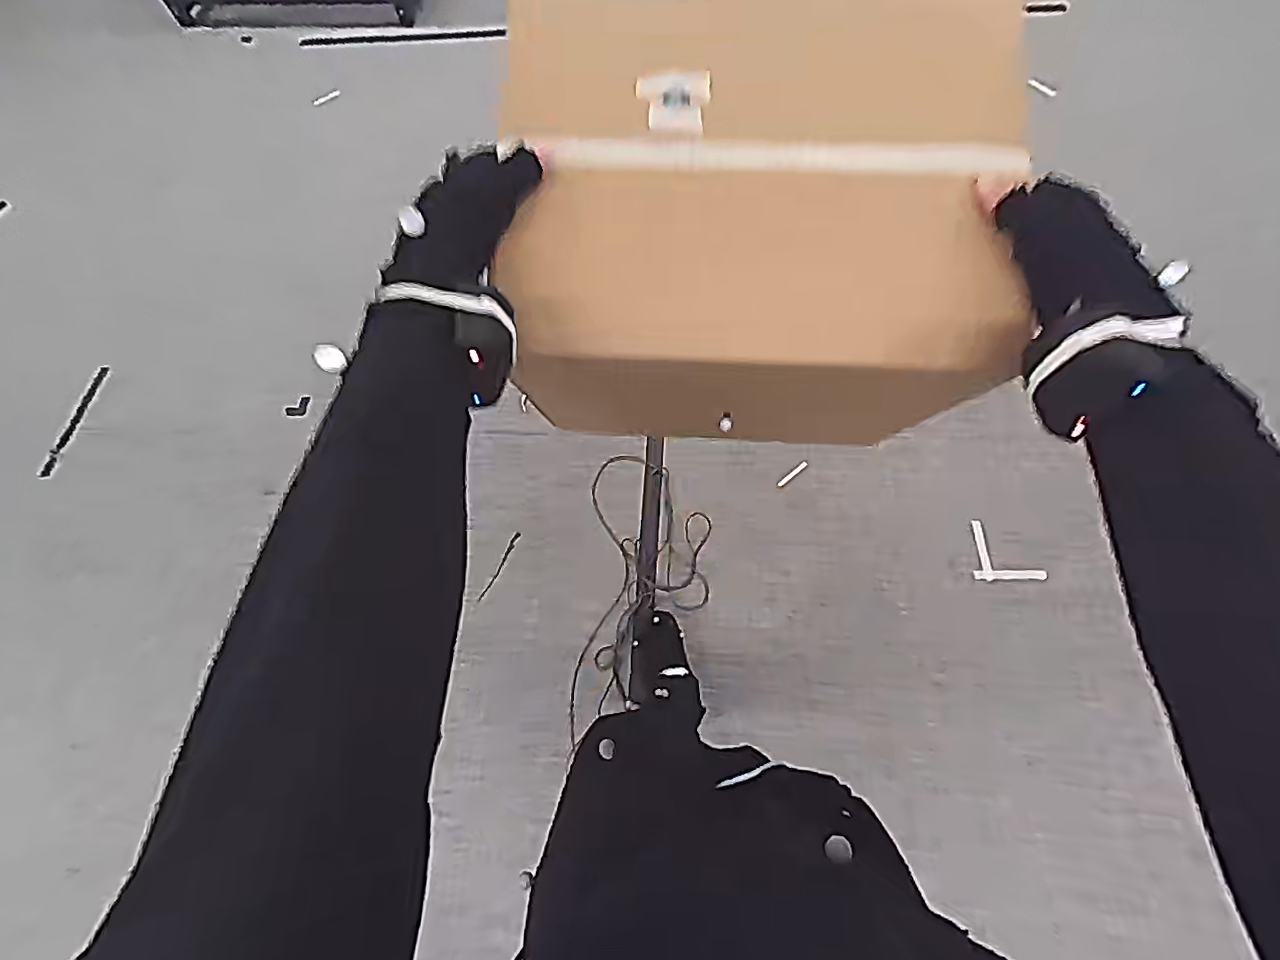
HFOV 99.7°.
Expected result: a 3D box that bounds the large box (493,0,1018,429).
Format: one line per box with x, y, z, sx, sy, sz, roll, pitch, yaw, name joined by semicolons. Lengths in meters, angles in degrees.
0.098;-0.235;0.573;0.408;0.320;0.320;3;83;4;large box
